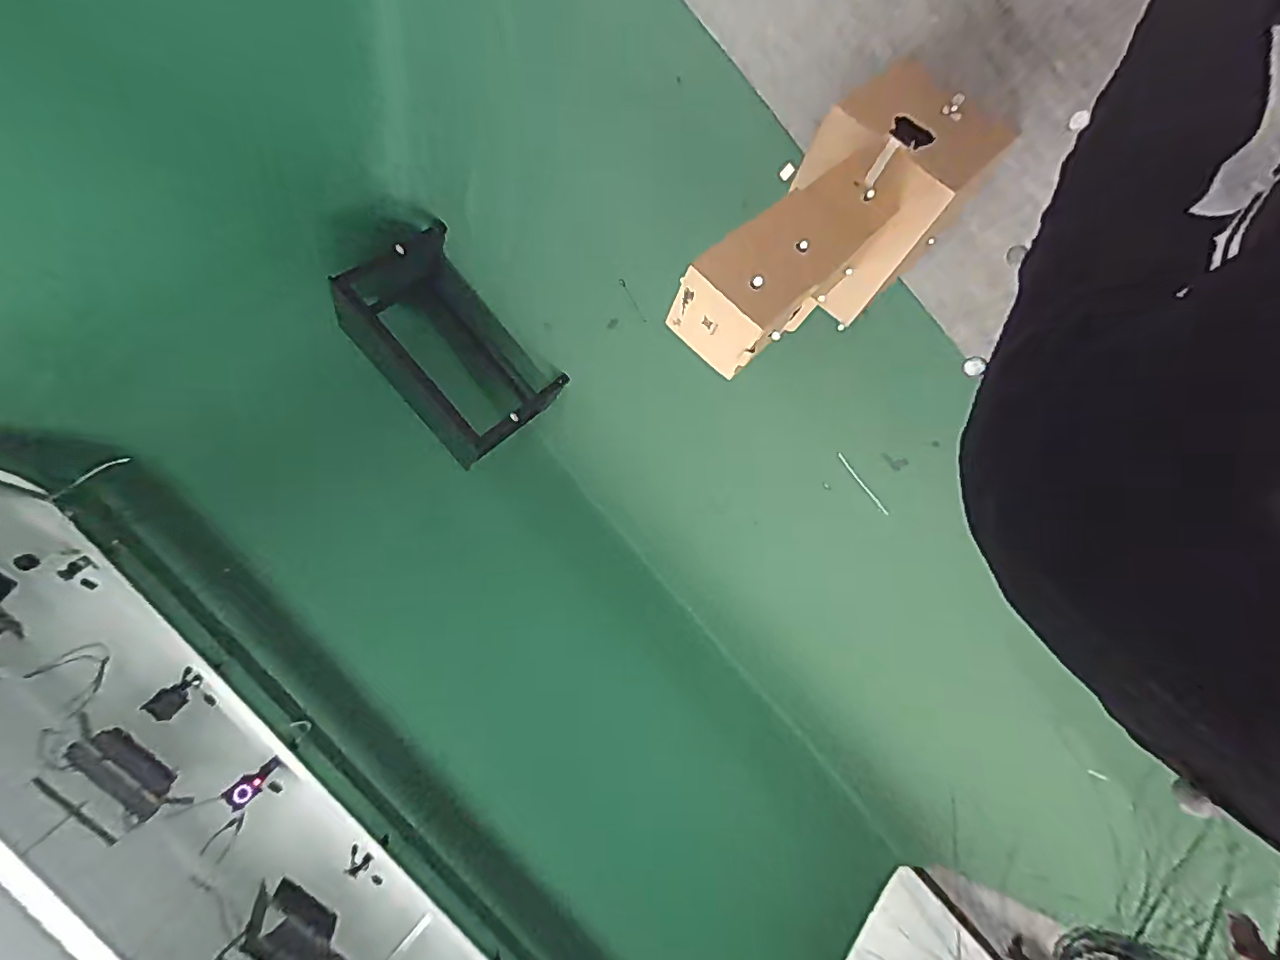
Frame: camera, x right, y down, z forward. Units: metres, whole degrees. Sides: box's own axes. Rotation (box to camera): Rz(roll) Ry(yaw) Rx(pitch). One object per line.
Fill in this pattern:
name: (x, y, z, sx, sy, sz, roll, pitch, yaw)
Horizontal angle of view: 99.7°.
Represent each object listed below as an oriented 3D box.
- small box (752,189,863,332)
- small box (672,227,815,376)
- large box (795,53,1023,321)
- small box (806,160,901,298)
small box: (0.308, -0.442, 1.087, 0.179, 0.176, 0.168, 44, 156, 4)
small box: (0.195, -0.340, 1.024, 0.179, 0.176, 0.168, 43, 155, 5)
large box: (0.579, -0.677, 1.285, 0.320, 0.320, 0.408, 44, 157, 10)
small box: (0.419, -0.537, 1.162, 0.168, 0.176, 0.179, 43, 155, 6)
